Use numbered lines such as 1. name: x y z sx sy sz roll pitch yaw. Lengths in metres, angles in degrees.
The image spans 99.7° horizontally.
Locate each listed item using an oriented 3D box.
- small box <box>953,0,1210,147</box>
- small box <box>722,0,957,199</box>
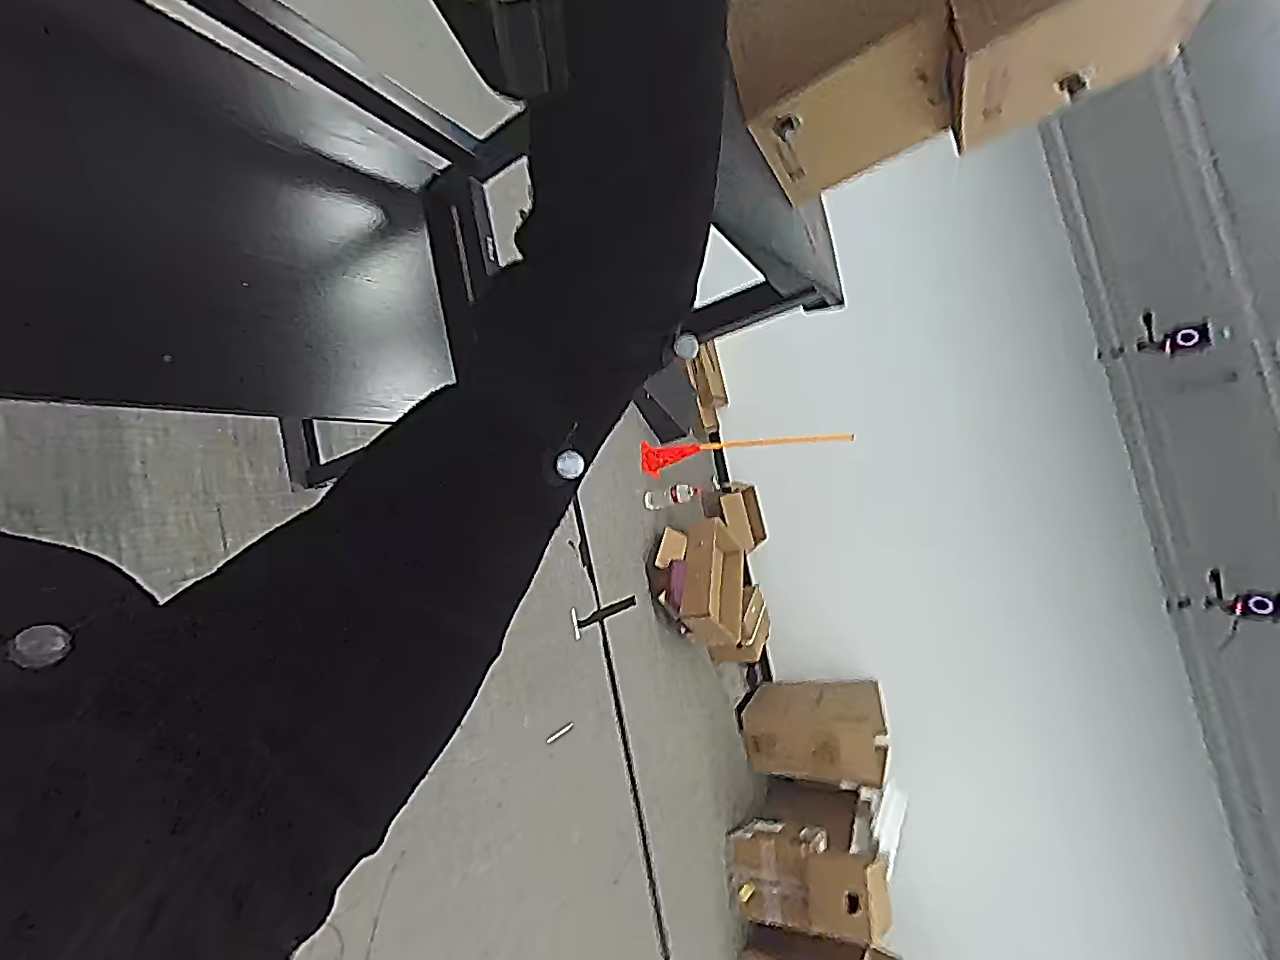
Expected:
1. small box: 0.337 -0.423 0.445 0.168 0.176 0.179 -8 83 -62
2. small box: 0.194 -0.417 0.526 0.168 0.176 0.179 4 72 -60
